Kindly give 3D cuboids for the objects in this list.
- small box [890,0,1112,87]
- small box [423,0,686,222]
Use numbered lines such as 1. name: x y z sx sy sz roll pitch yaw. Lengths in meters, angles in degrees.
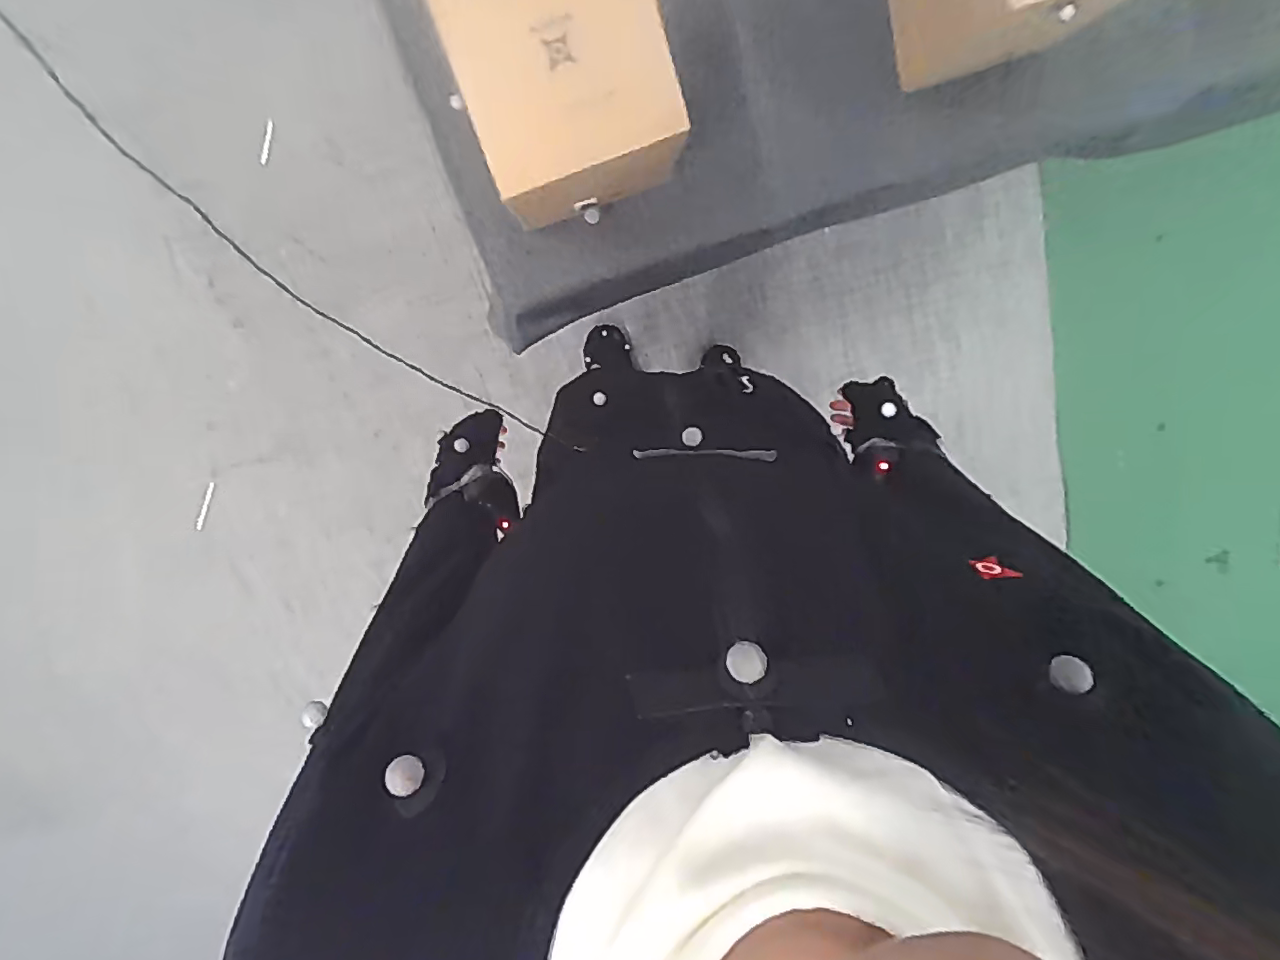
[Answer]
1. small box: 0.335 -0.497 0.475 0.168 0.176 0.179 -17 106 2
2. small box: -0.069 -0.351 0.471 0.168 0.176 0.179 -17 106 3
